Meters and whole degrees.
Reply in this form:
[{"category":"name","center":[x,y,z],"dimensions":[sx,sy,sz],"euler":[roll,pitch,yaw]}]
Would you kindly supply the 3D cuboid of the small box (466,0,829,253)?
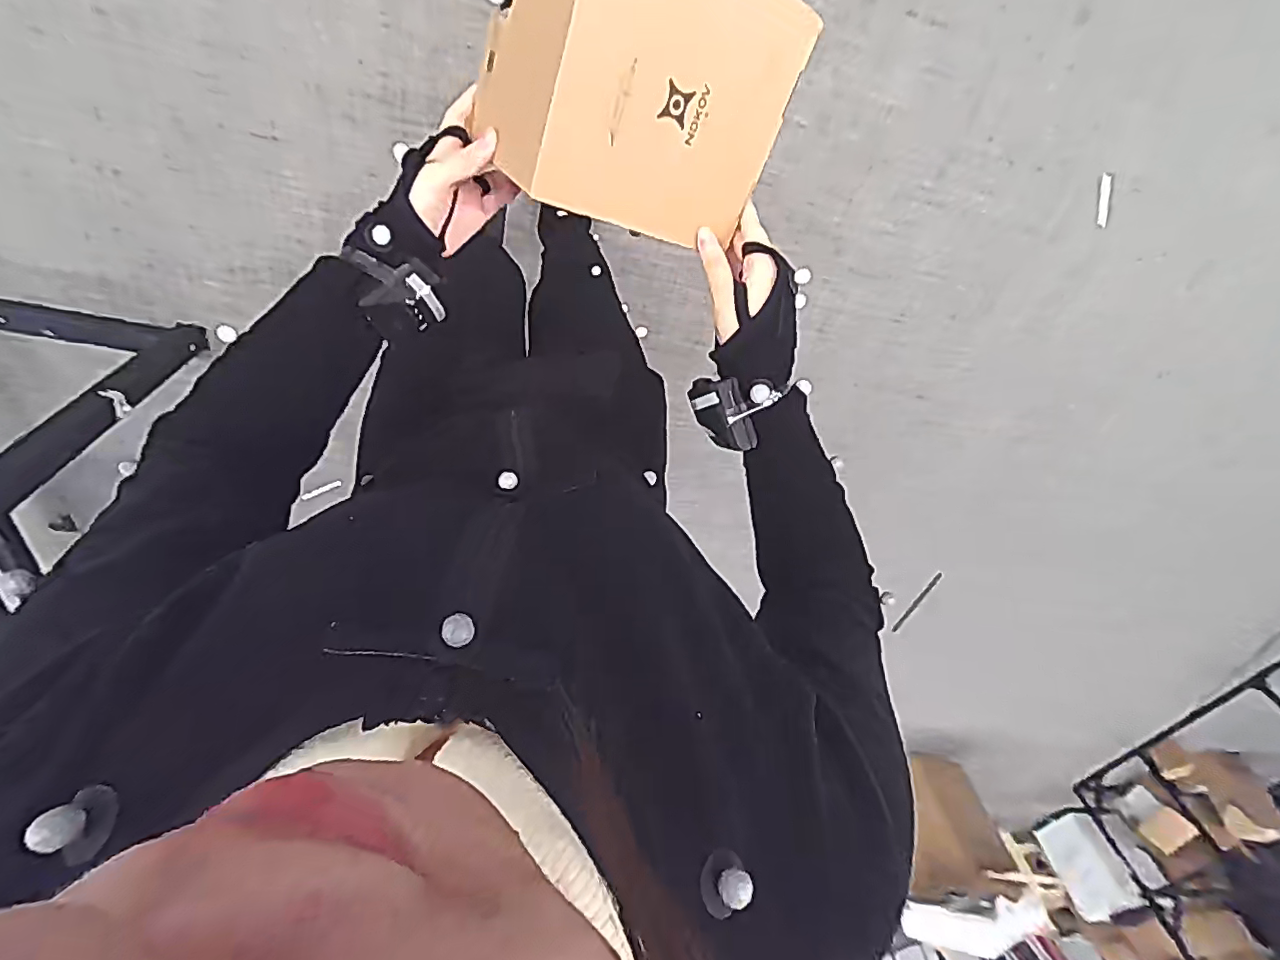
[{"category":"small box","center":[-0.009,-0.296,0.399],"dimensions":[0.179,0.176,0.168],"euler":[0,128,-35]}]
